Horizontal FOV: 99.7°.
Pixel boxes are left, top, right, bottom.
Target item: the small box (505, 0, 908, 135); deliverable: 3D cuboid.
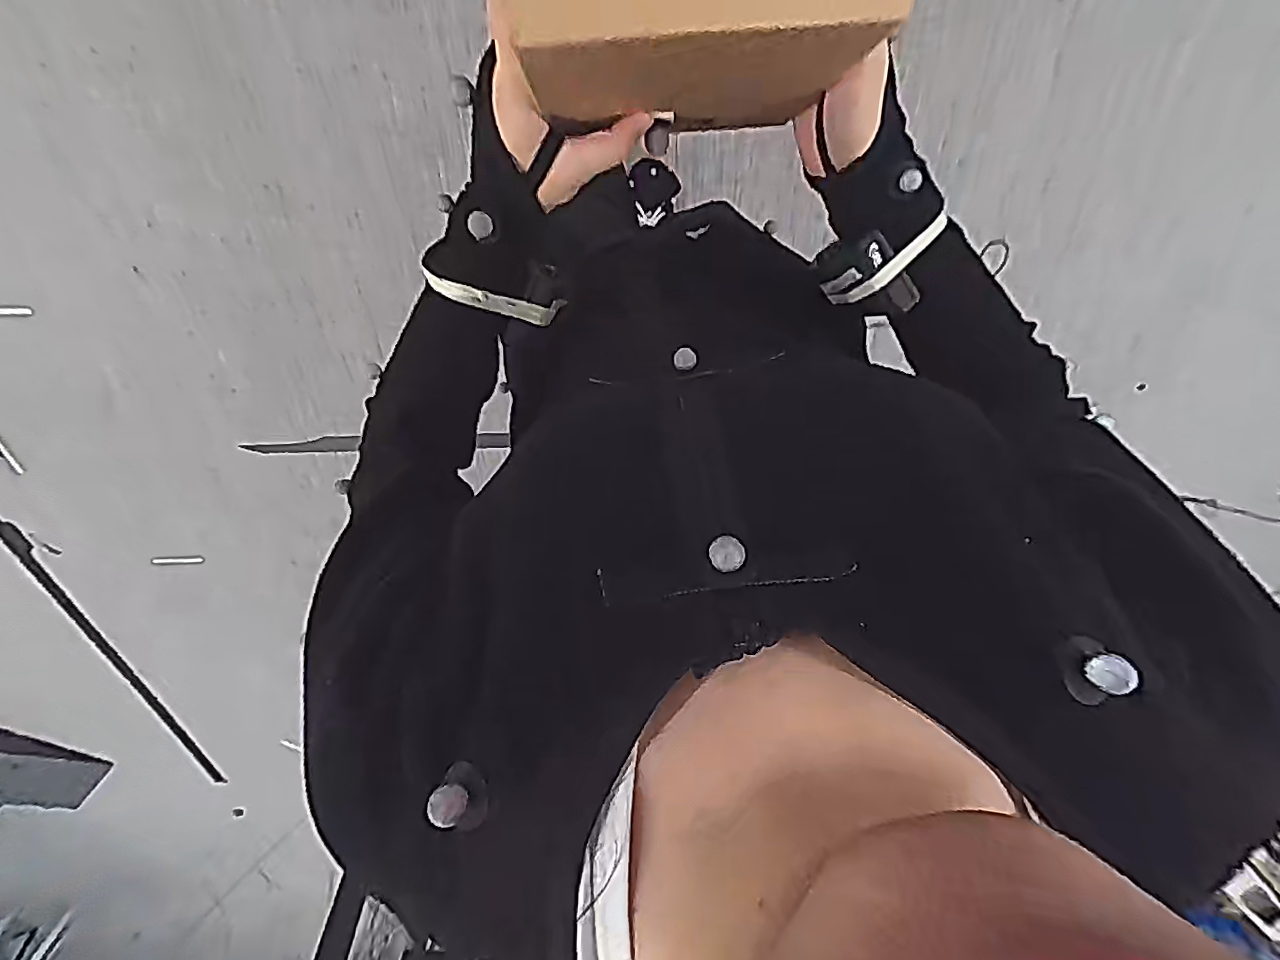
[{"bbox_3d":[0.018,-0.292,0.262,0.168,0.176,0.179,-5,111,-2],"label":"small box"}]
